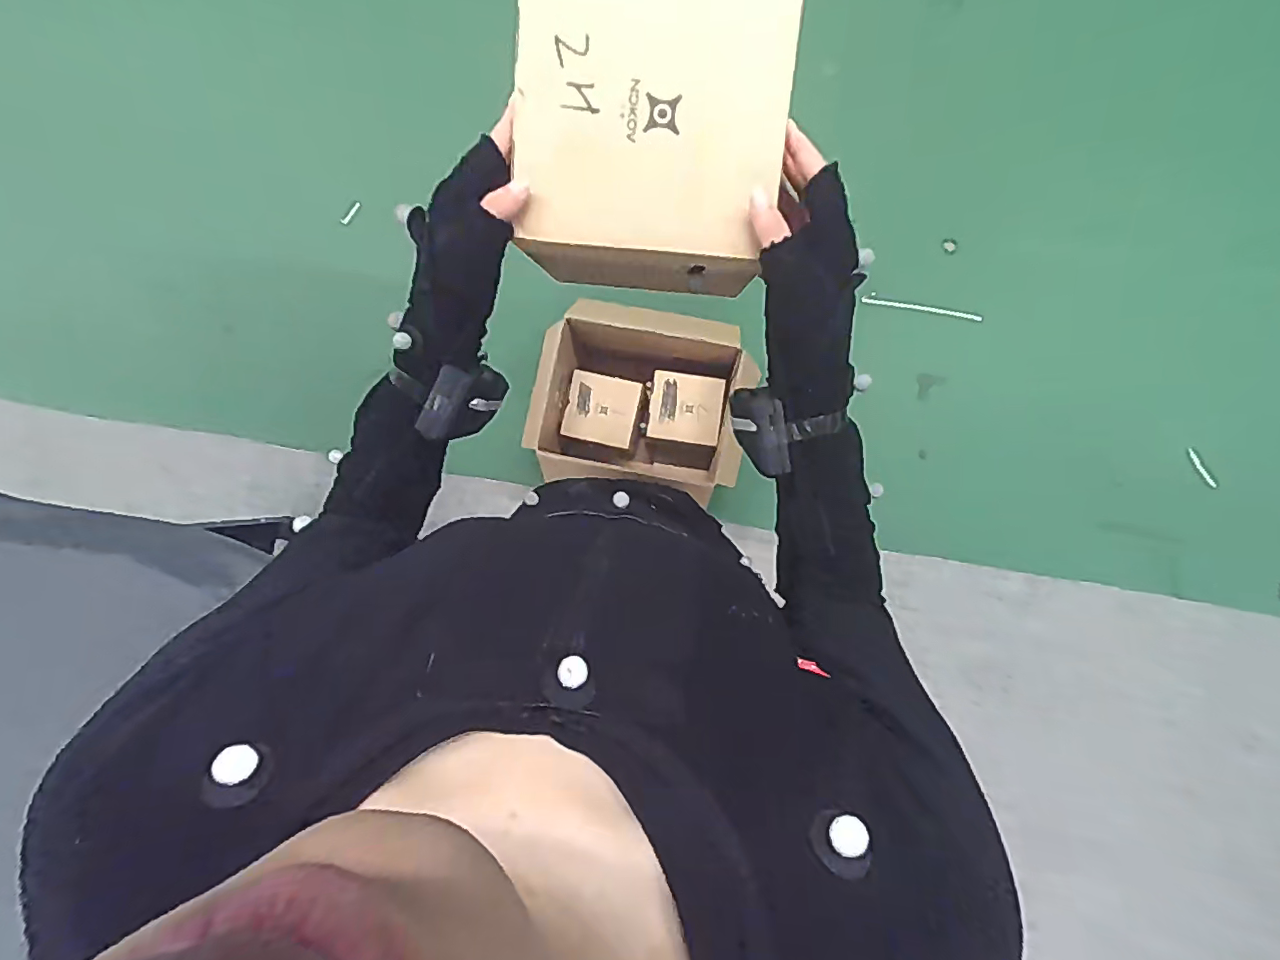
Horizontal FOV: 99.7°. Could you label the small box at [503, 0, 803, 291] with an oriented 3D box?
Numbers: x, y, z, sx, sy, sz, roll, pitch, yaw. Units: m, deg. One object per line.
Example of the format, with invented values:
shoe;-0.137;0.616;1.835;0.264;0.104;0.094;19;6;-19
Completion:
small box;0.007;-0.246;0.413;0.179;0.176;0.168;6;101;2
